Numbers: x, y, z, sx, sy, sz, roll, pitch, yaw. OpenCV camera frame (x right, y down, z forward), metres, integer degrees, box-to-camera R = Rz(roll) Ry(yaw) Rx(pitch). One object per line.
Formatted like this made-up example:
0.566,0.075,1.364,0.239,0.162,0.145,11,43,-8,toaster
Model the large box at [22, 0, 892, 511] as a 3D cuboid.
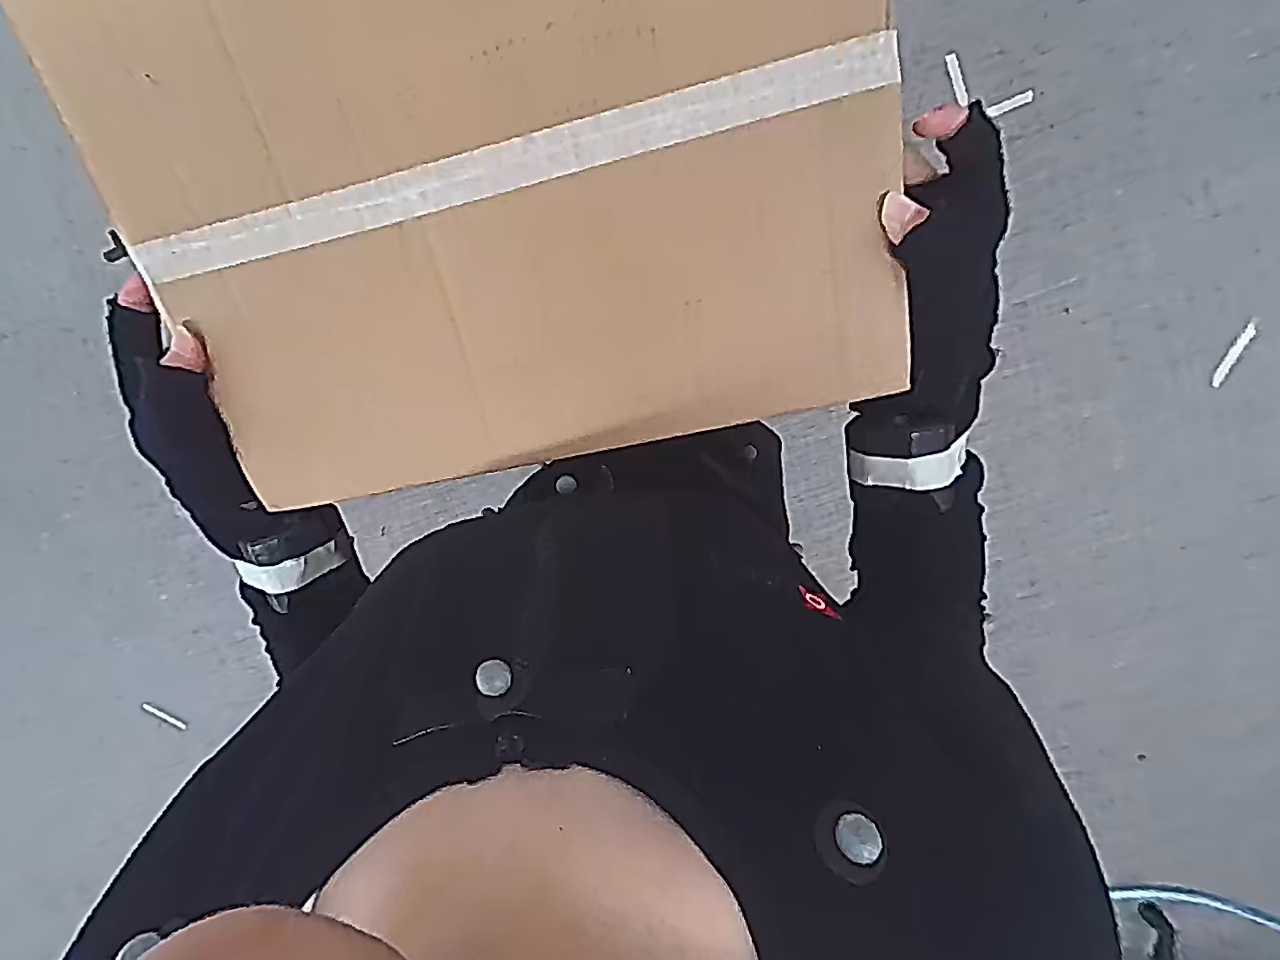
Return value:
-0.071,-0.212,0.423,0.408,0.320,0.320,-11,111,8,large box
